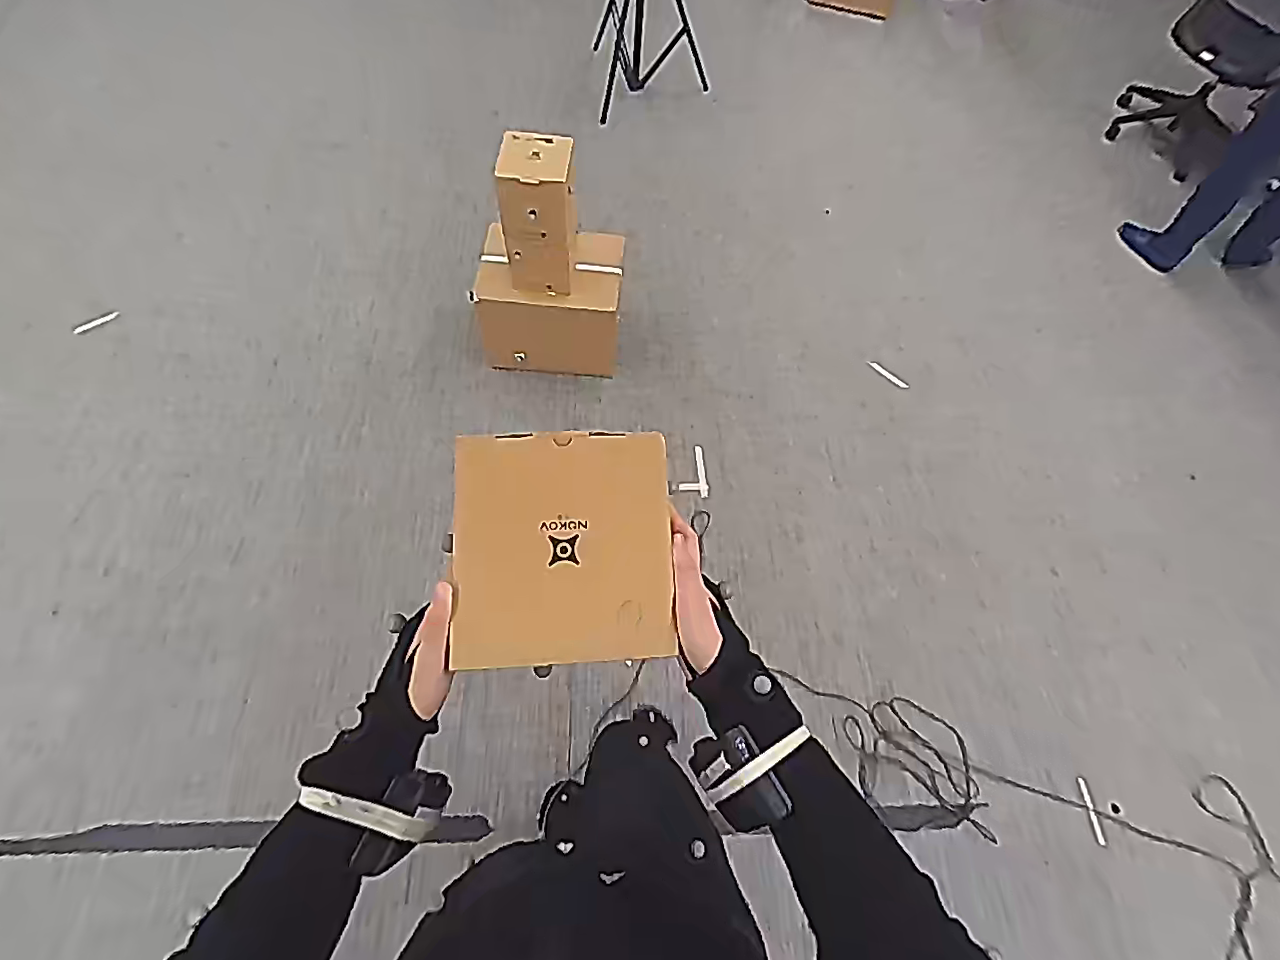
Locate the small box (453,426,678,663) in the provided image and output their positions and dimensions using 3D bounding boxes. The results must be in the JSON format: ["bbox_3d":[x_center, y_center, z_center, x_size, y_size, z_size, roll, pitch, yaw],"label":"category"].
[{"bbox_3d":[-0.063,0.062,0.486,0.168,0.176,0.179,-2,75,-7],"label":"small box"}]

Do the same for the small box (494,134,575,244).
[{"bbox_3d":[-0.254,-0.714,1.340,0.168,0.176,0.179,5,64,-3],"label":"small box"}]
